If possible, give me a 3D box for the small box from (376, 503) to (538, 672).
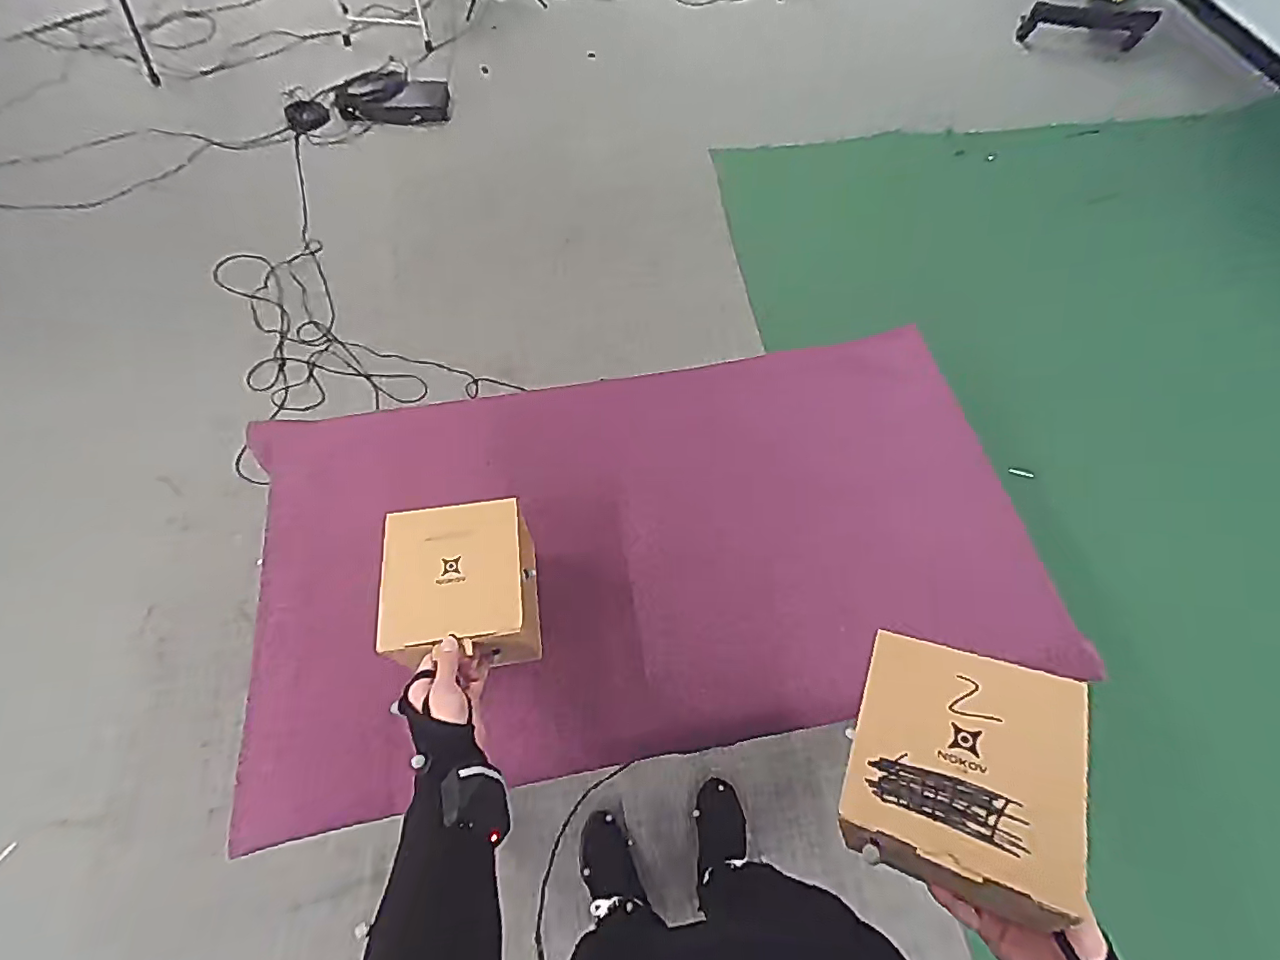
[{"bbox_3d":[-0.232,0.152,0.728,0.168,0.176,0.179,-6,59,-6],"label":"small box"}]
